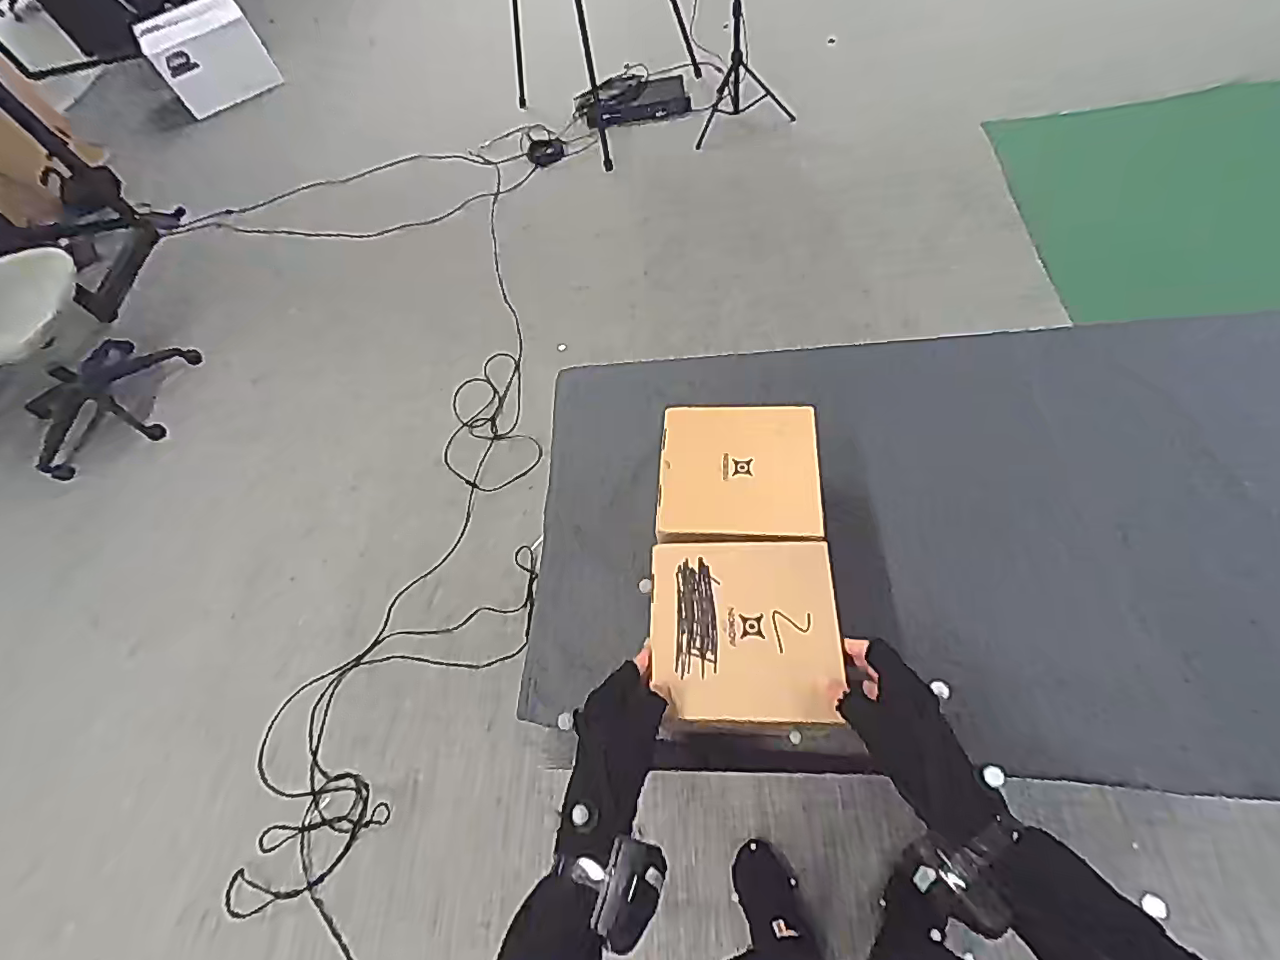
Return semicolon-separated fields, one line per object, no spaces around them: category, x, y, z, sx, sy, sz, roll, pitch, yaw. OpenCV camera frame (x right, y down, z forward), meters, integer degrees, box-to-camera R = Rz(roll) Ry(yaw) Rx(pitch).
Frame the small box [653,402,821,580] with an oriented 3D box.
small box;0.119;0.019;0.671;0.179;0.176;0.168;0;61;10
